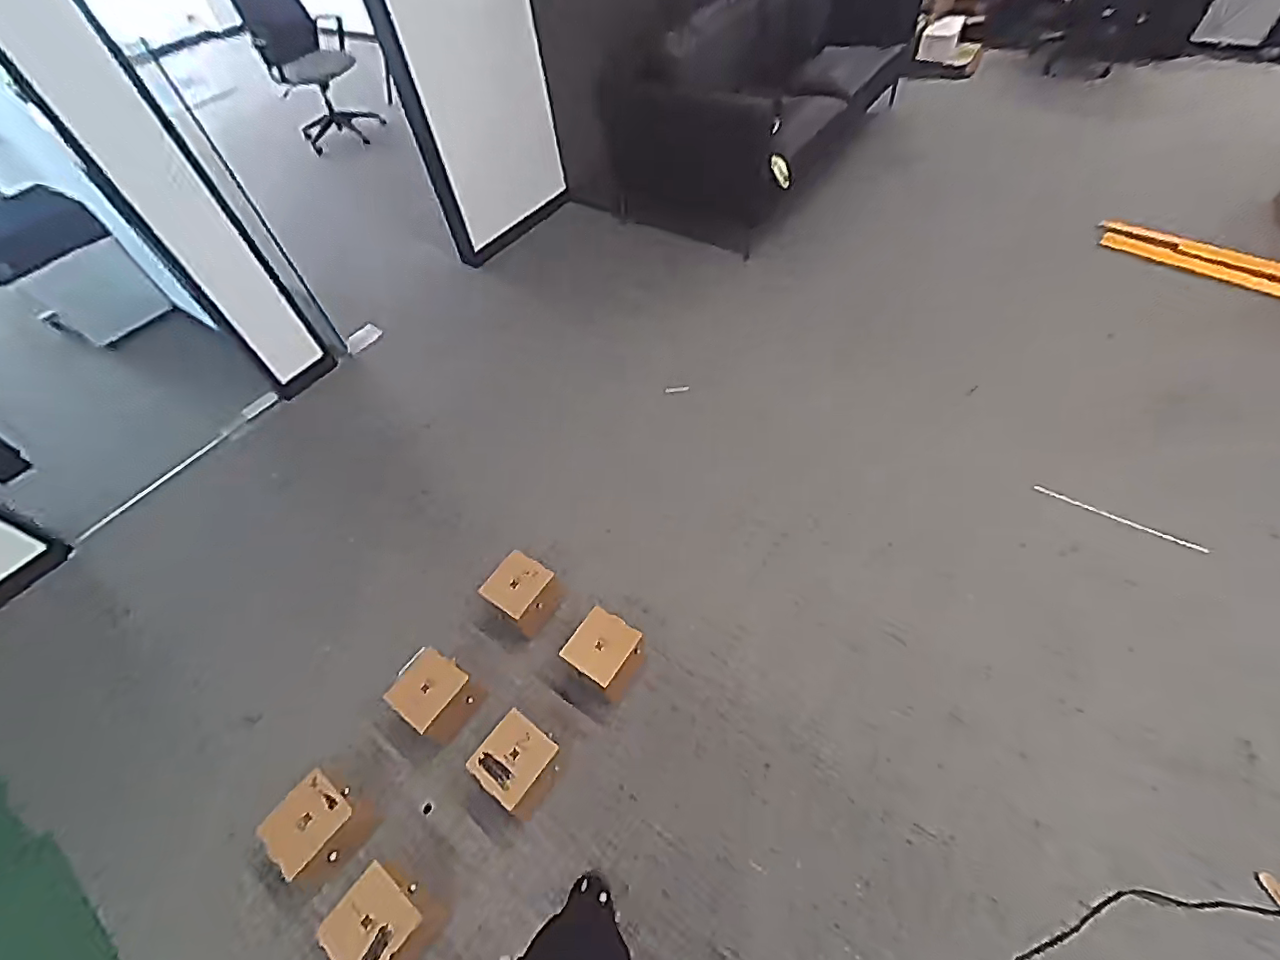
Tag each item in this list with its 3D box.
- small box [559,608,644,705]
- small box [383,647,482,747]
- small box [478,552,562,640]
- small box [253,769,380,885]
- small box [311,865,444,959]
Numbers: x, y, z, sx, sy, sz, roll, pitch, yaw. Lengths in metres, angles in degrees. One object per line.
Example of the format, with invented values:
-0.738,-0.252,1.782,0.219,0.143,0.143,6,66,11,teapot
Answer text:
-0.100,0.505,1.532,0.168,0.176,0.179,26,59,24,small box
-0.563,0.606,1.503,0.168,0.176,0.179,27,61,25,small box
-0.360,0.362,1.666,0.168,0.176,0.179,27,59,24,small box
-0.789,0.858,1.334,0.168,0.176,0.179,31,62,26,small box
-0.572,0.997,1.202,0.179,0.176,0.168,29,60,26,small box
